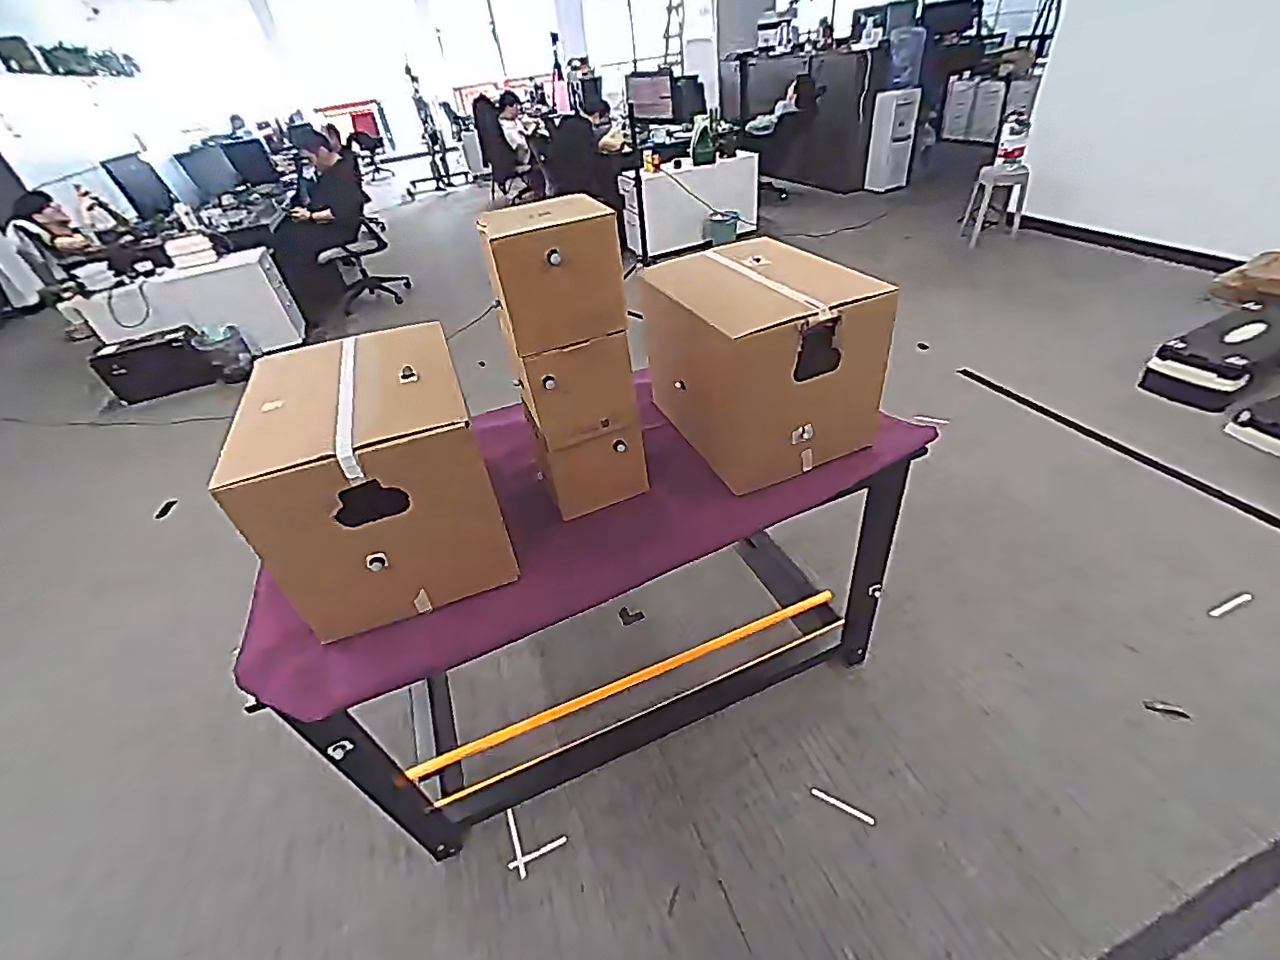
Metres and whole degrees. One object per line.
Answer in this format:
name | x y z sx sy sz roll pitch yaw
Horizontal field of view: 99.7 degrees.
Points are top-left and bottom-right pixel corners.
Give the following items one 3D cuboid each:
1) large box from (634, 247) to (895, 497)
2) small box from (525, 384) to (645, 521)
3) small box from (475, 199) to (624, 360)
large box | 0.223 -0.232 1.074 0.320 0.320 0.408 -19 38 -13
small box | -0.098 -0.053 1.022 0.179 0.176 0.168 -20 39 -14
small box | -0.130 -0.304 0.816 0.179 0.176 0.168 -19 39 -12
